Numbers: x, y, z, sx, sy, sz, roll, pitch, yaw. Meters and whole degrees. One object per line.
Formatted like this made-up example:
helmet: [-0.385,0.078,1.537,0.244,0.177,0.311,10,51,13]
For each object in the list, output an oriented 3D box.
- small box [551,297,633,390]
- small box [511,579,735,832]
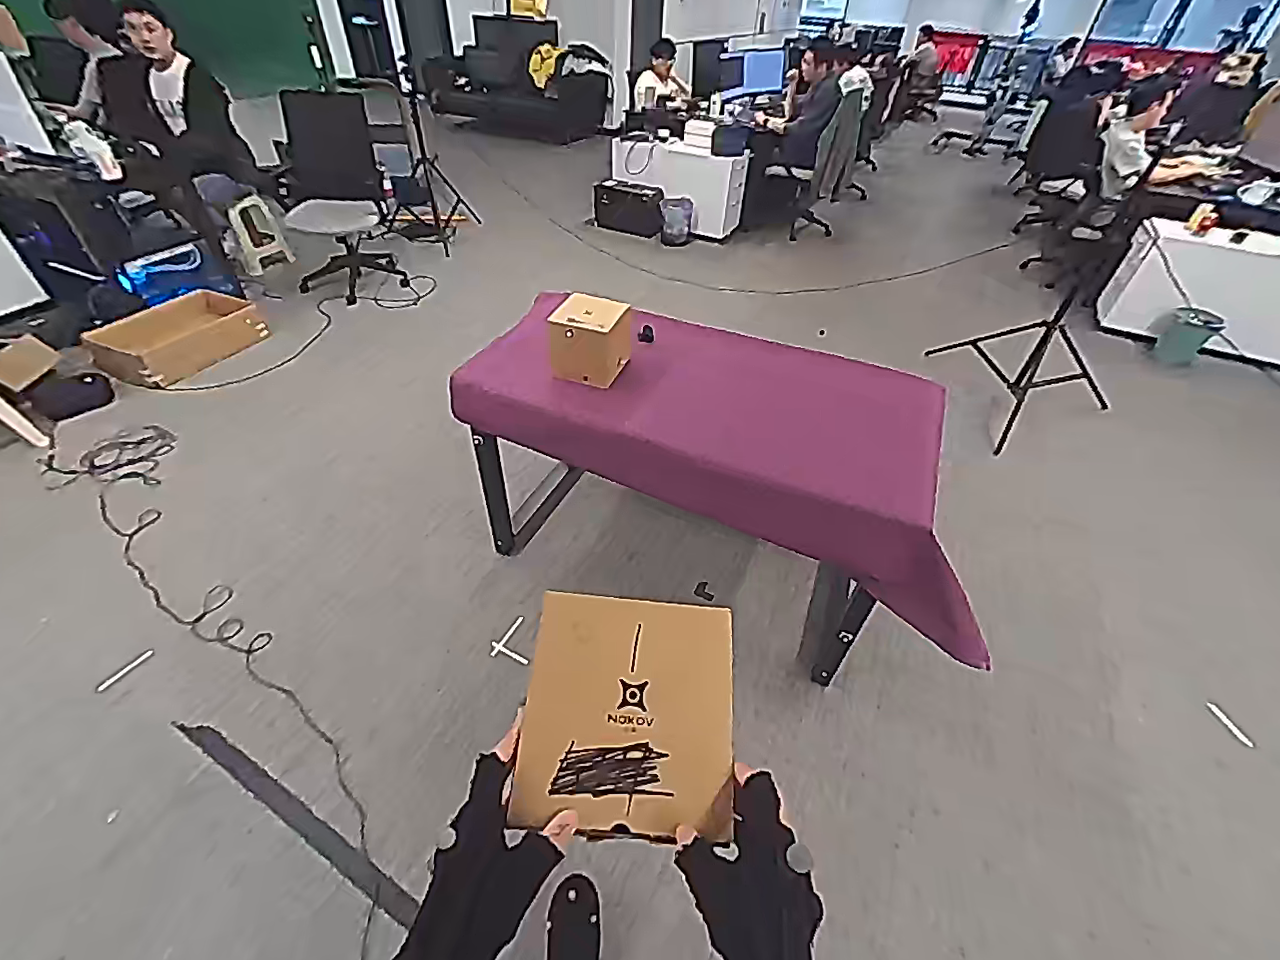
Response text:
small box: [-0.128,-0.366,1.450,0.168,0.176,0.179,15,43,12]
small box: [-0.011,0.211,0.501,0.168,0.176,0.179,7,58,-2]
